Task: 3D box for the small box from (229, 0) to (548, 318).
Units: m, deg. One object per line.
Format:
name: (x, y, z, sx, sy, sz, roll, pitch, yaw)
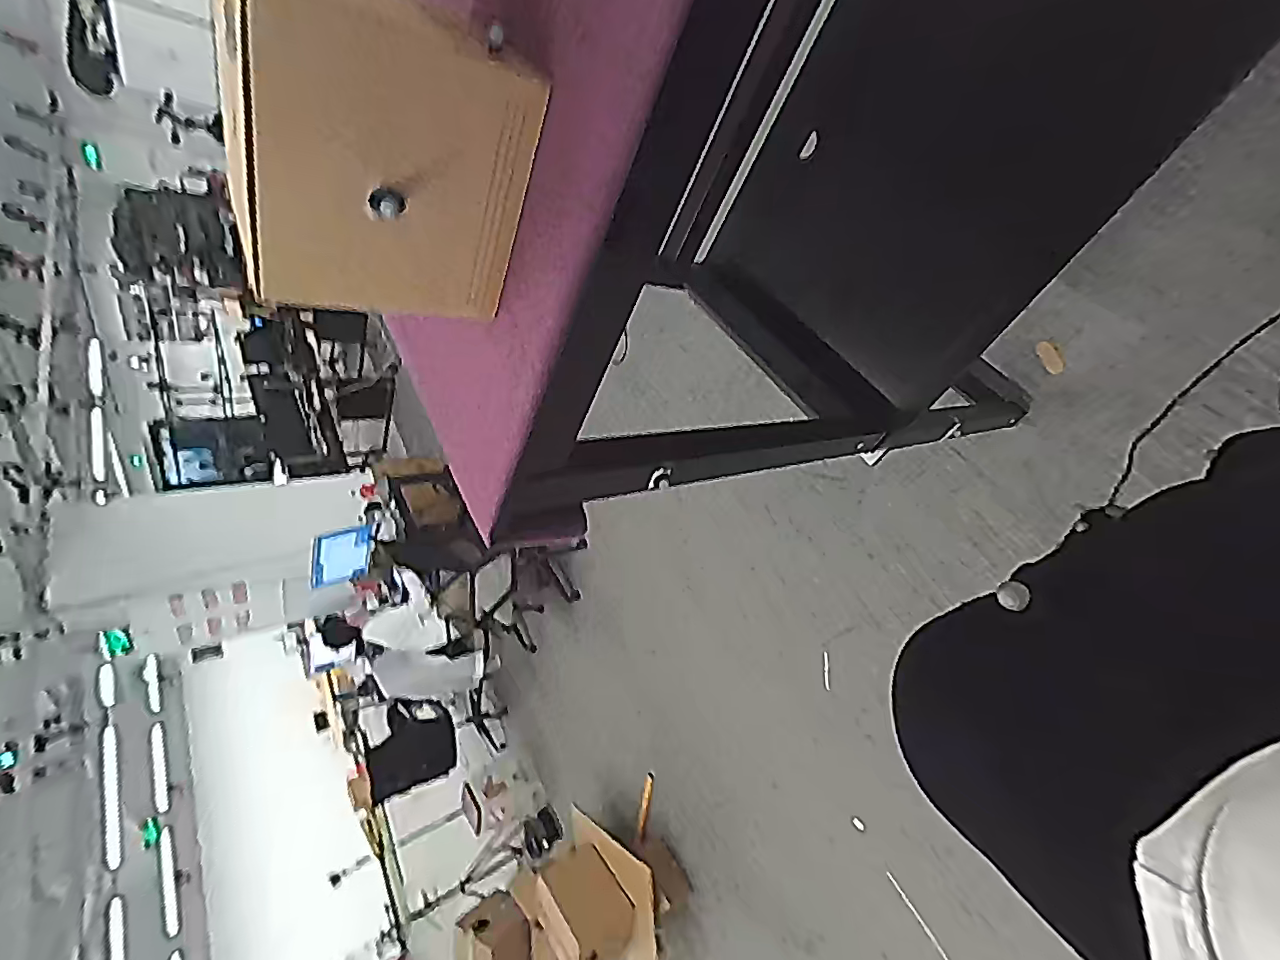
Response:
small box: (-0.186, -0.241, 0.402, 0.168, 0.176, 0.179, 54, 135, 31)
